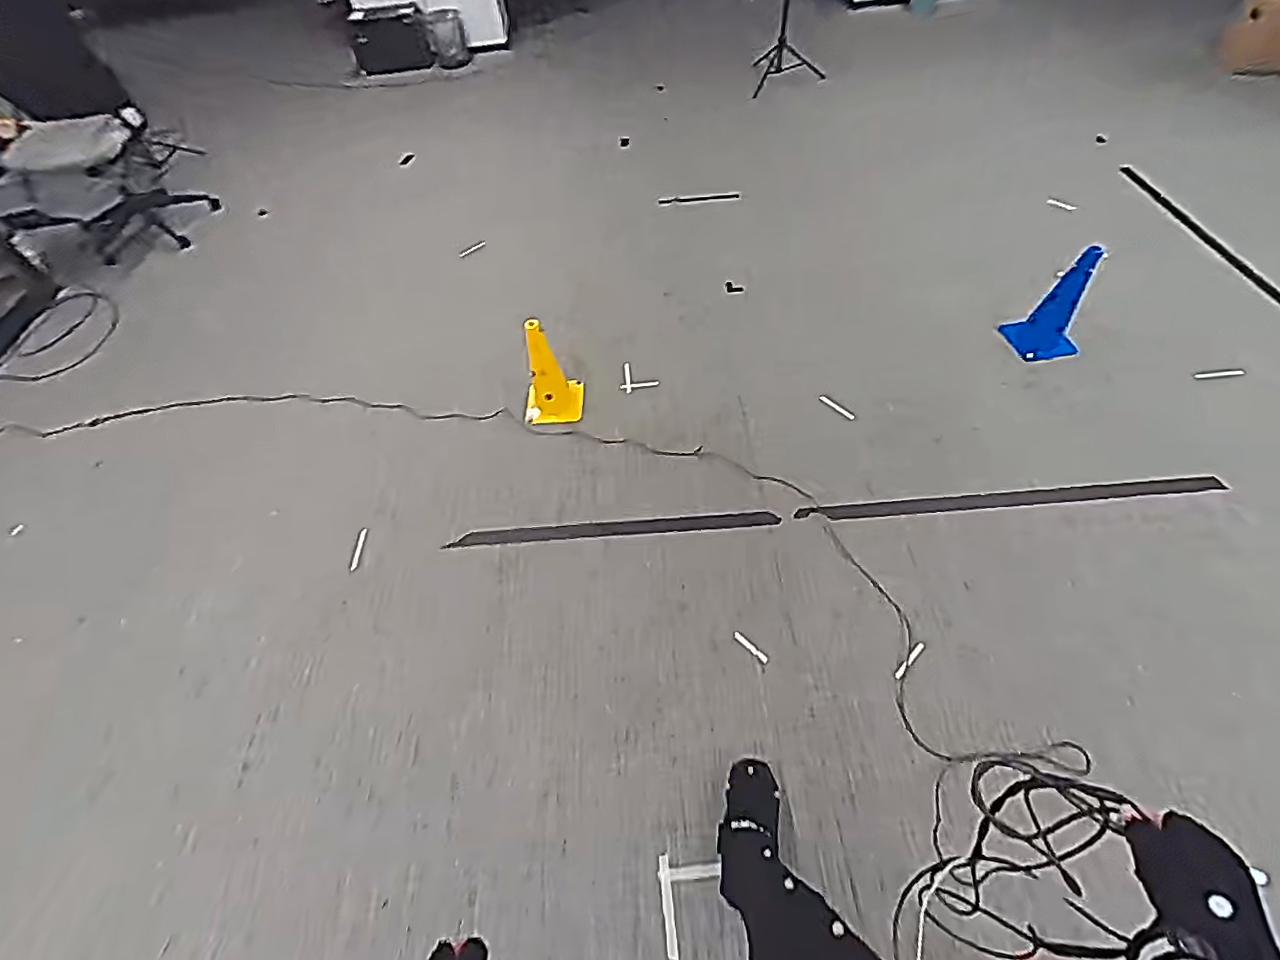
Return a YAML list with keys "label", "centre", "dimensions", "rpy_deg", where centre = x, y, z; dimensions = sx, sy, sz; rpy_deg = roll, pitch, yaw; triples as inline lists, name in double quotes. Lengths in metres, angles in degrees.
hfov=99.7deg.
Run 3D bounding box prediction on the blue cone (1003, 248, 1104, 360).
- label: "blue cone"
  centre: [1.422, -0.604, 1.818]
  dimensions: [0.193, 0.380, 0.192]
  rpy_deg: [-9, 55, -1]
